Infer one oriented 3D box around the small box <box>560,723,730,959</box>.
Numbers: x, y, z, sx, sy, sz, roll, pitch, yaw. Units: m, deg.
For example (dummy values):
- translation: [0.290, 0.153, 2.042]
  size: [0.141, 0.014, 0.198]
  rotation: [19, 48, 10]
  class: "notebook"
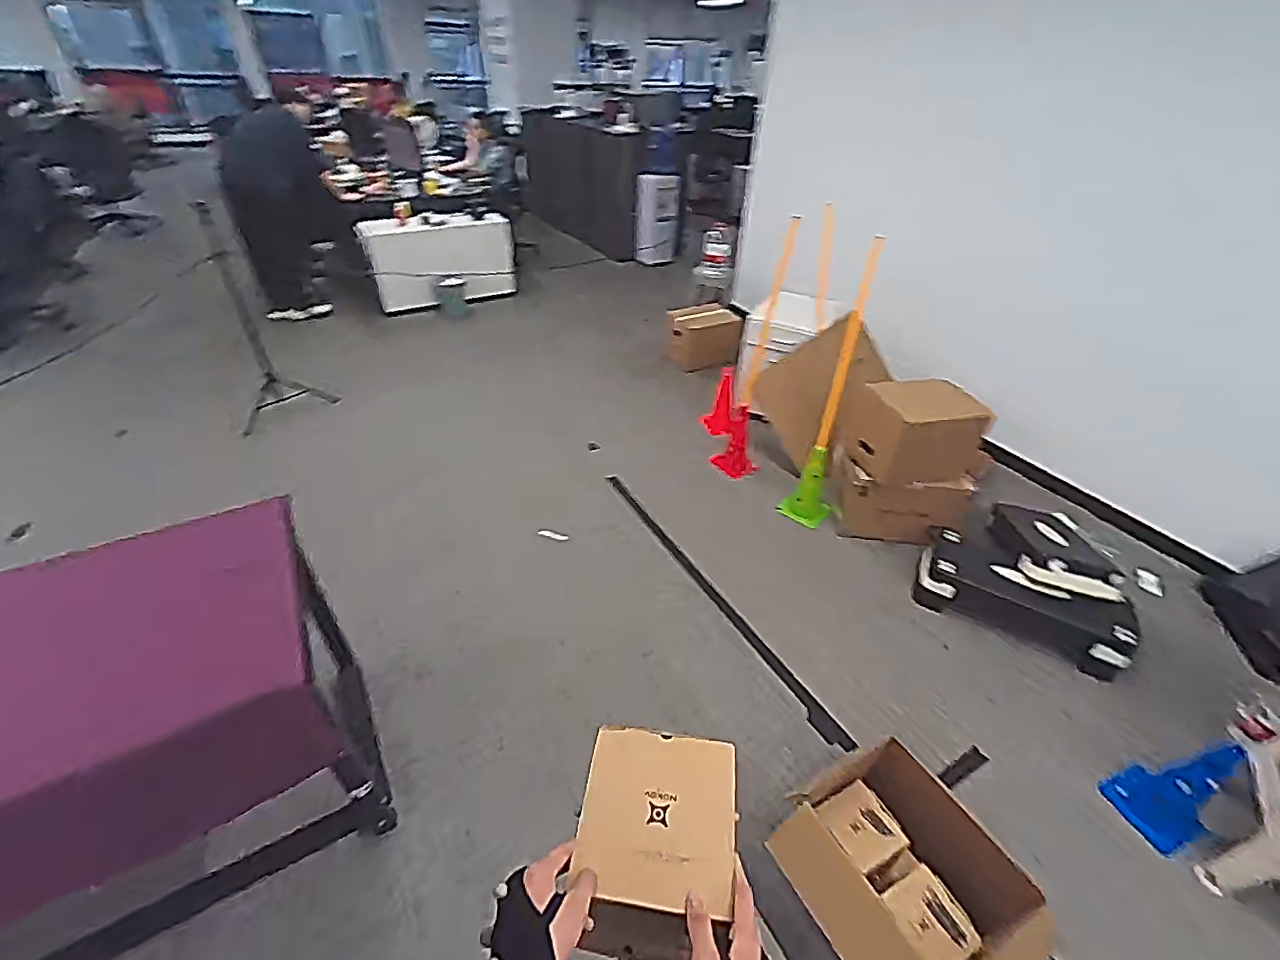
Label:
- translation: [0.010, 0.420, 0.627]
  size: [0.168, 0.176, 0.179]
  rotation: [6, 34, 6]
  class: "small box"
